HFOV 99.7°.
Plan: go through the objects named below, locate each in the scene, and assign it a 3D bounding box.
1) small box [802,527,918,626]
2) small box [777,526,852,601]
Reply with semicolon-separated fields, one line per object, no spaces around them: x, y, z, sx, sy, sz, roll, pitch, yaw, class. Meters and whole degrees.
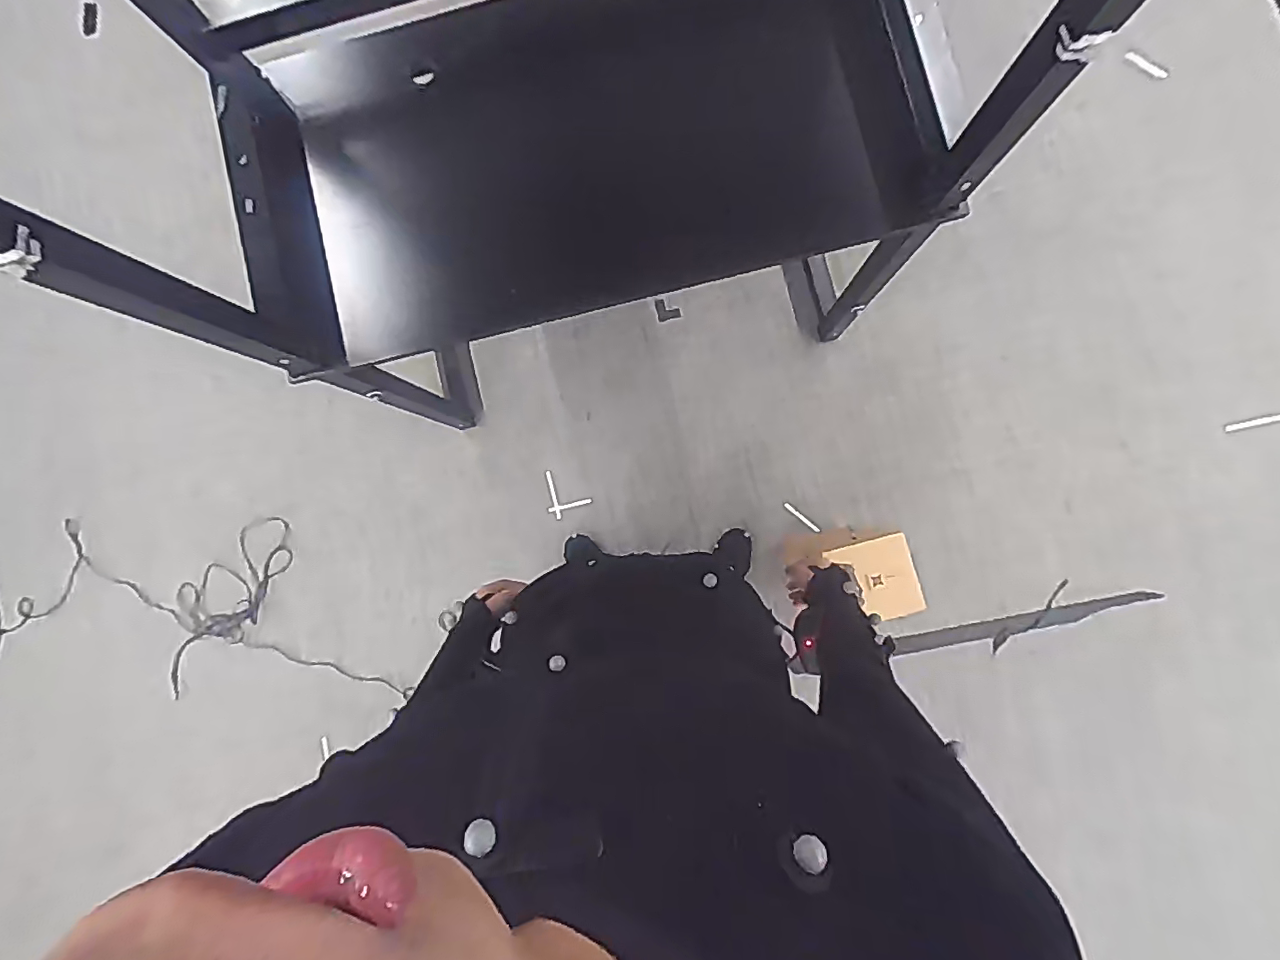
0.469;0.205;1.185;0.179;0.176;0.168;-15;87;3;small box
0.499;0.227;1.513;0.179;0.176;0.168;-14;86;4;small box
